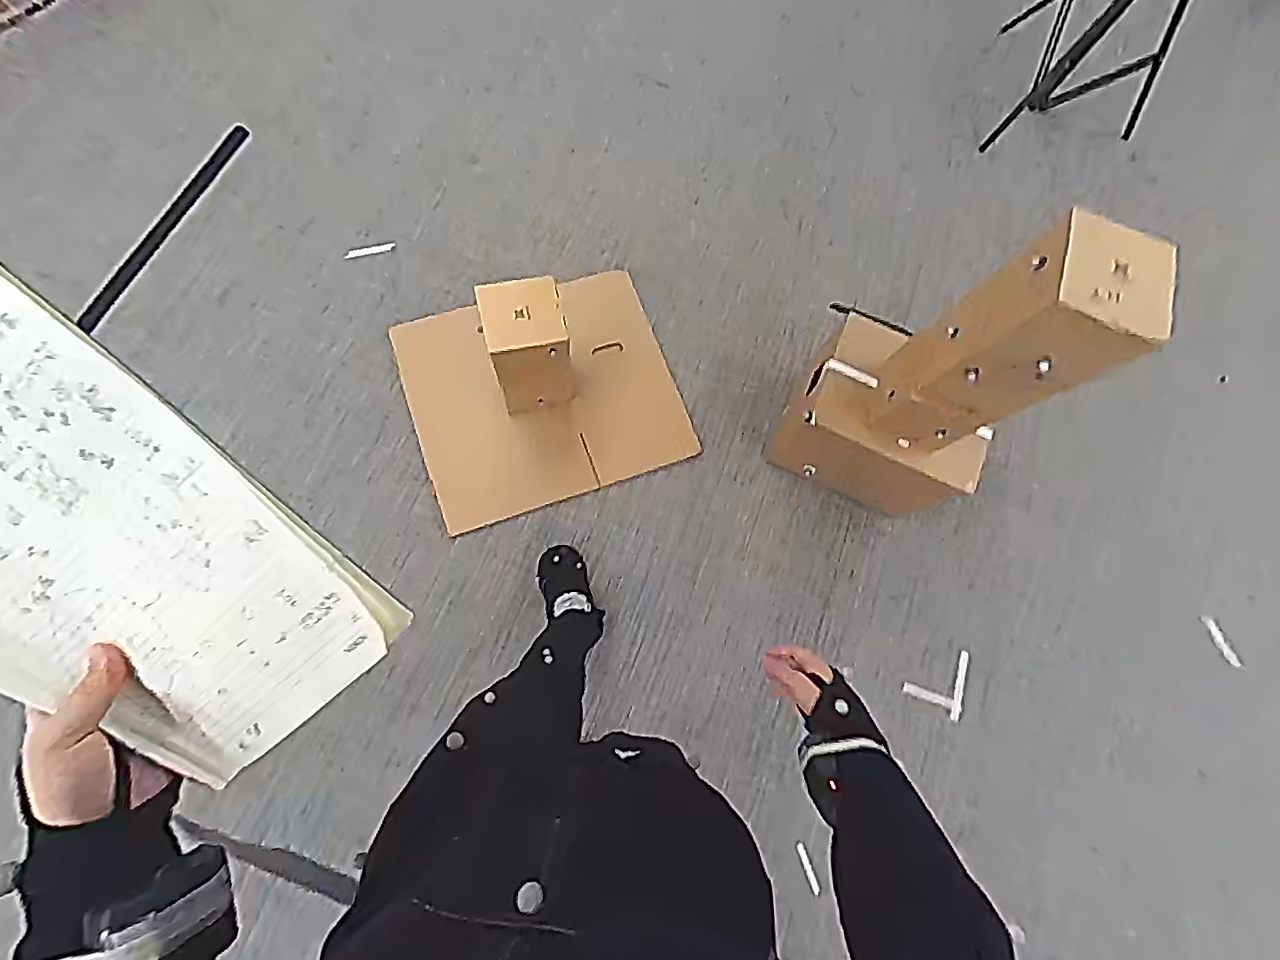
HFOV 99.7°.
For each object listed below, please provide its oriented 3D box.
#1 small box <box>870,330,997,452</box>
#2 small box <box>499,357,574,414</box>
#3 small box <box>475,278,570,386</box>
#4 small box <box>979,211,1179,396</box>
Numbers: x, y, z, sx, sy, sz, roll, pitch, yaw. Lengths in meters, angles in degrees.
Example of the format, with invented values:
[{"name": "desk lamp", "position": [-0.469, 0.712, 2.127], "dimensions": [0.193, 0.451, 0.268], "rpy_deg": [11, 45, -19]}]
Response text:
[{"name": "small box", "position": [0.614, -0.179, 1.146], "dimensions": [0.168, 0.176, 0.179], "rpy_deg": [20, 73, -2]}, {"name": "small box", "position": [-0.277, -0.287, 1.384], "dimensions": [0.179, 0.176, 0.168], "rpy_deg": [-14, 77, -13]}, {"name": "small box", "position": [-0.260, -0.329, 1.228], "dimensions": [0.179, 0.176, 0.168], "rpy_deg": [-13, 76, -12]}, {"name": "small box", "position": [0.661, -0.260, 0.830], "dimensions": [0.168, 0.176, 0.179], "rpy_deg": [22, 74, 0]}]
